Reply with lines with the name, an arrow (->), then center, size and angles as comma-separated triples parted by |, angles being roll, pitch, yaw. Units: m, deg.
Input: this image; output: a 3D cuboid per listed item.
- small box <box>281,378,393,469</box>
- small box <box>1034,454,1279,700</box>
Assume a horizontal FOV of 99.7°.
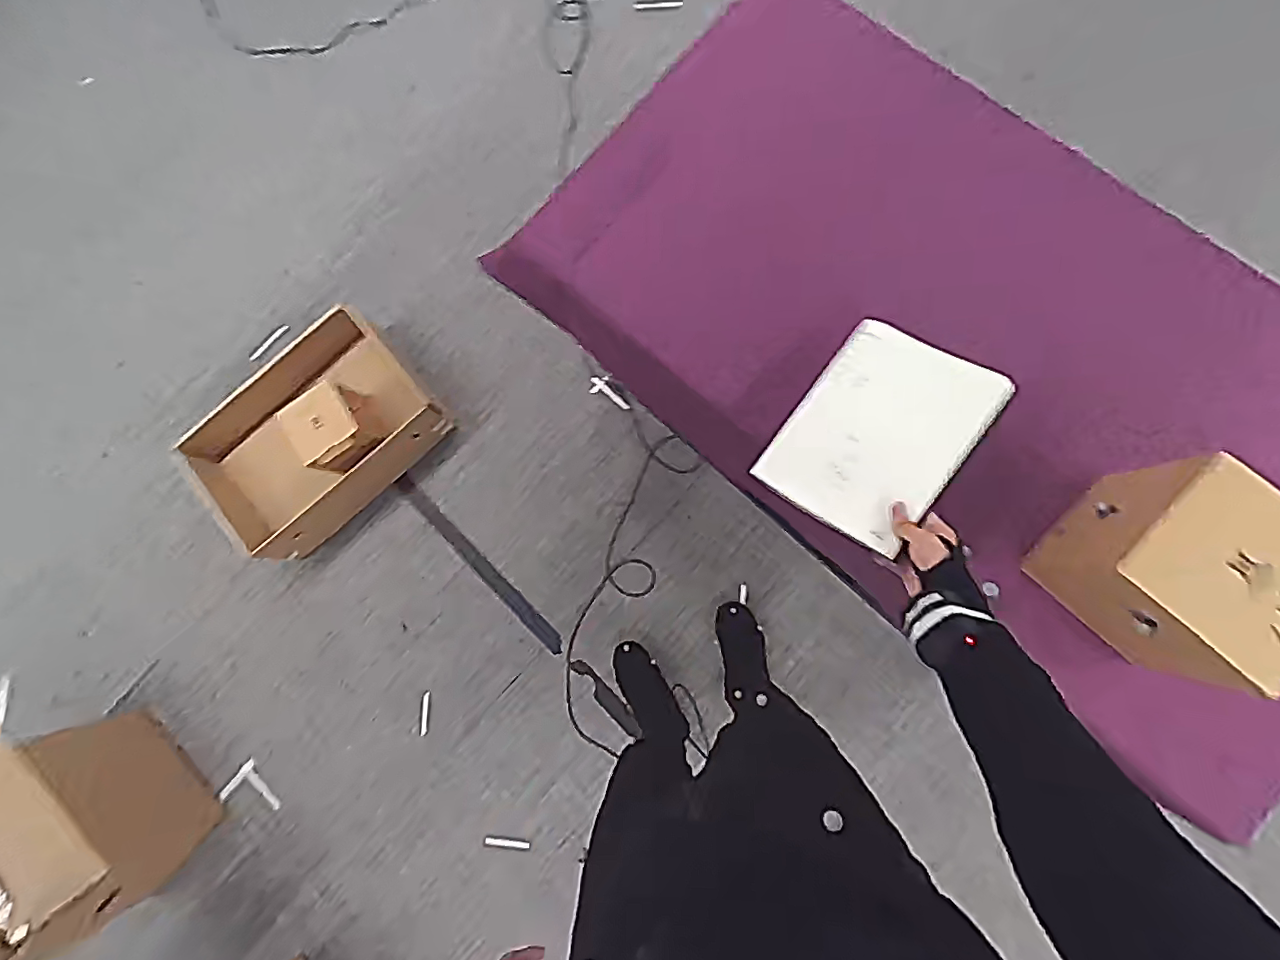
small box -> -0.811, -0.142, 1.465 | 0.168, 0.176, 0.179 | -33, 81, 1
small box -> 0.593, 0.101, 0.590 | 0.168, 0.176, 0.179 | -45, 80, -1
